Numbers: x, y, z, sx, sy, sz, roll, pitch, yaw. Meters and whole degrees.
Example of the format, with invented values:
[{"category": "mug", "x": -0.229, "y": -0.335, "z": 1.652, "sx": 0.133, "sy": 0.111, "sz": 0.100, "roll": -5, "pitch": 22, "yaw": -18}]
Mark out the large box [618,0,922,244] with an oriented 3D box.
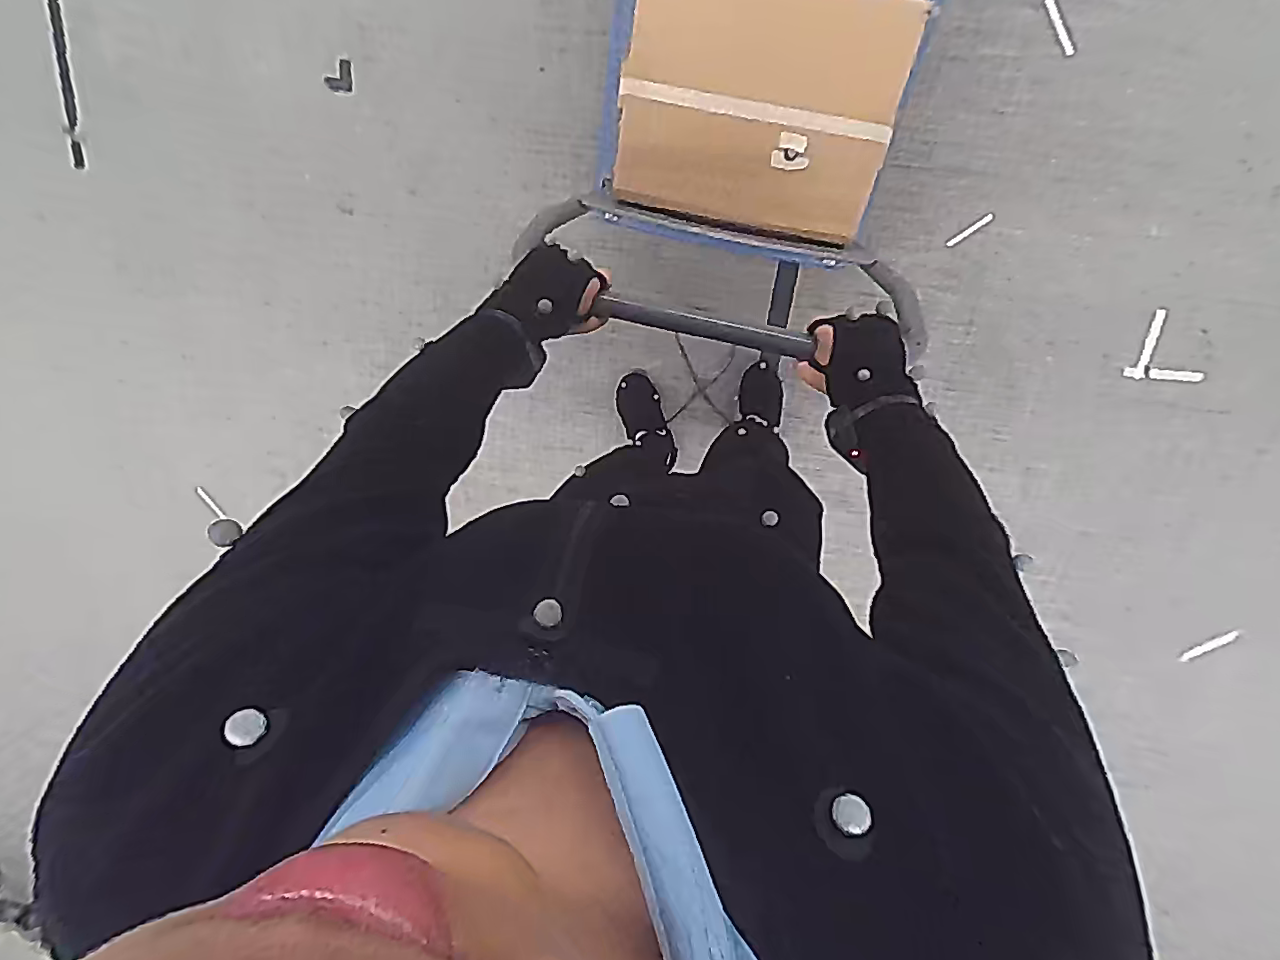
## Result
[{"category": "large box", "x": 0.193, "y": -0.628, "z": 0.959, "sx": 0.408, "sy": 0.320, "sz": 0.320, "roll": 12, "pitch": 120, "yaw": 1}]
